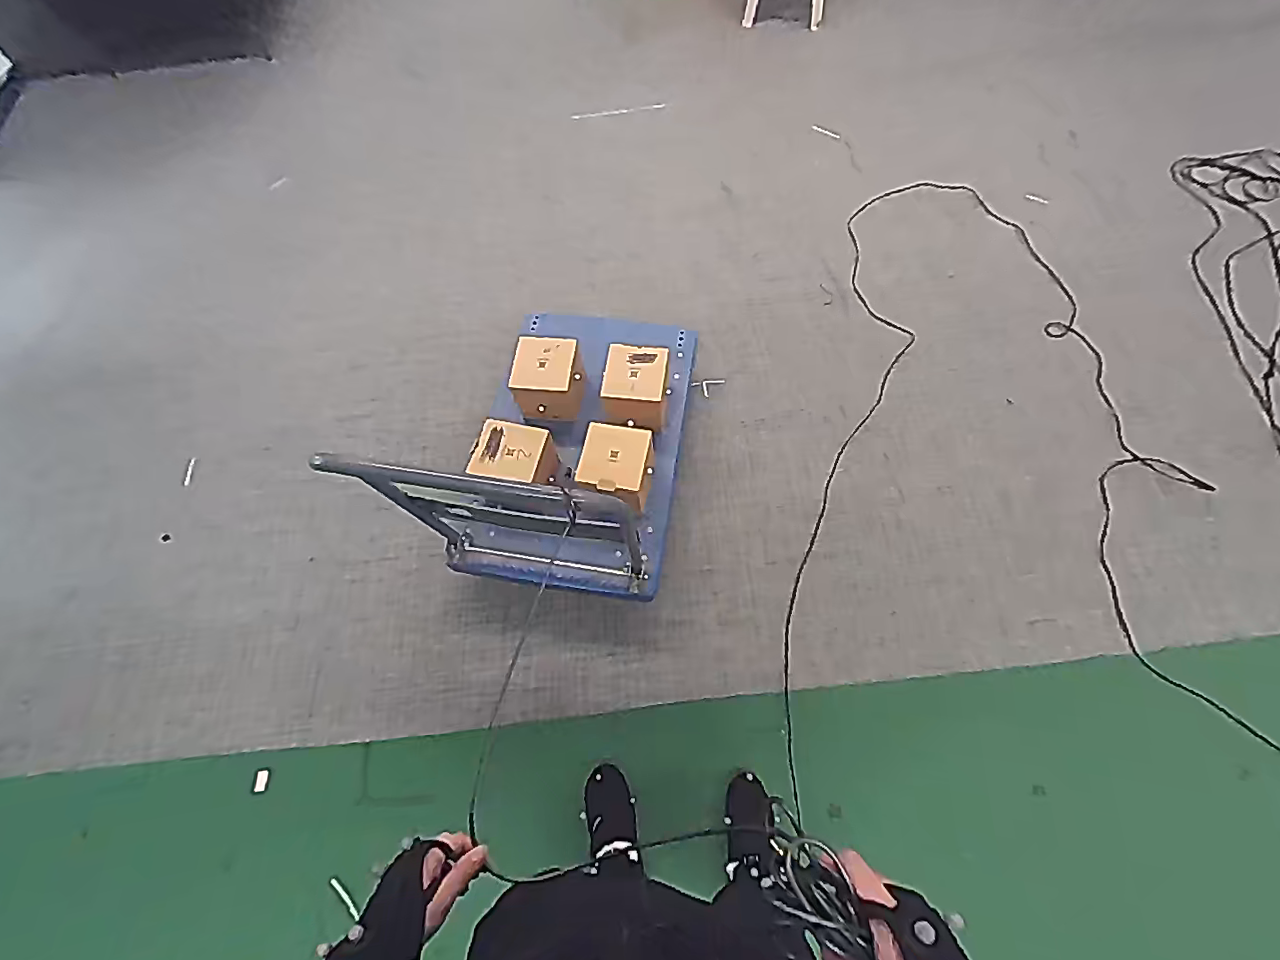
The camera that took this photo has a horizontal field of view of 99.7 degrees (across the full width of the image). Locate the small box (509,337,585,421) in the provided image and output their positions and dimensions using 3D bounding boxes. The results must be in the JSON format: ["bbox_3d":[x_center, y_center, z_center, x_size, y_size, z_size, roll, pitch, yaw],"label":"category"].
[{"bbox_3d":[-0.258,-0.285,1.551,0.168,0.176,0.179,5,66,5],"label":"small box"}]

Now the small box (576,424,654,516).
[{"bbox_3d":[-0.060,-0.023,1.424,0.168,0.176,0.179,10,68,7],"label":"small box"}]

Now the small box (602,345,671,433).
[{"bbox_3d":[-0.005,-0.254,1.522,0.168,0.176,0.179,7,67,7],"label":"small box"}]
